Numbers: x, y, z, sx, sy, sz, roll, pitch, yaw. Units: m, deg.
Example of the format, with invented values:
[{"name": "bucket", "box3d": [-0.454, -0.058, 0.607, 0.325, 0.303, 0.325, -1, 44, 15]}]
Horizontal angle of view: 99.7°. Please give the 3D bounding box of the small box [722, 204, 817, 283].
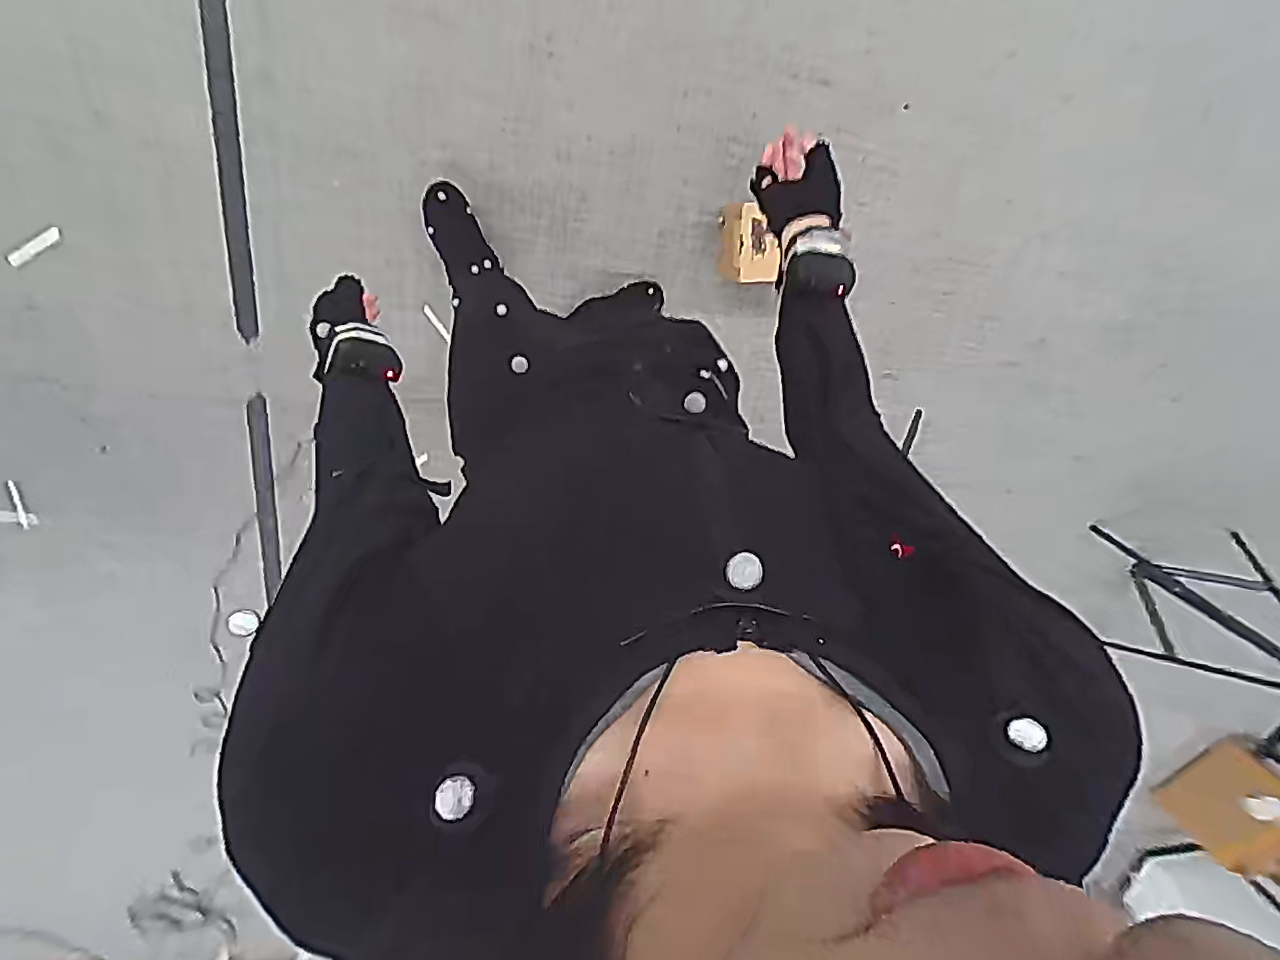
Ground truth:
[{"name": "small box", "box3d": [0.299, -0.564, 1.293, 0.179, 0.176, 0.168, -4, 116, -6]}]
